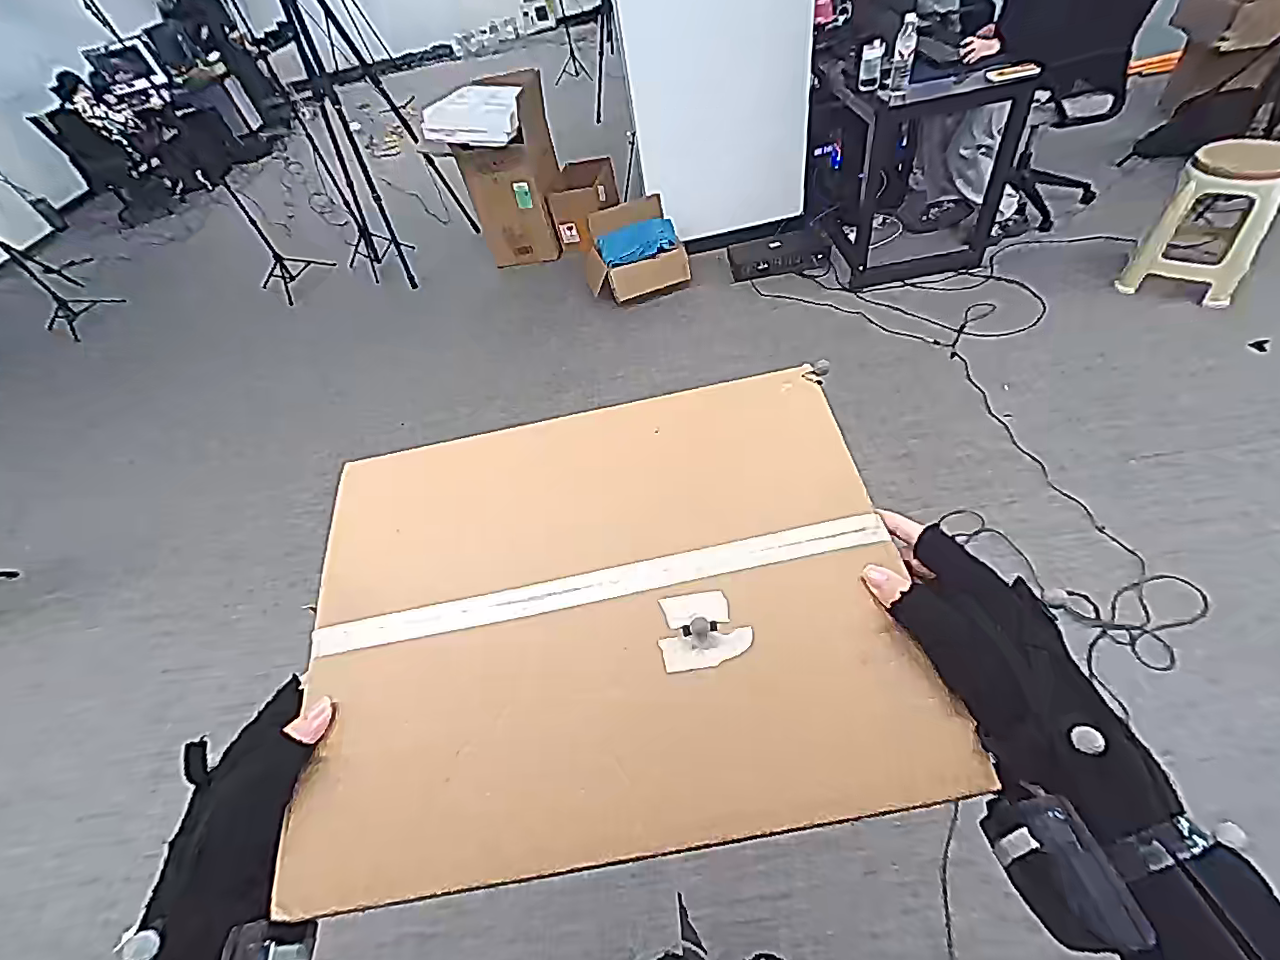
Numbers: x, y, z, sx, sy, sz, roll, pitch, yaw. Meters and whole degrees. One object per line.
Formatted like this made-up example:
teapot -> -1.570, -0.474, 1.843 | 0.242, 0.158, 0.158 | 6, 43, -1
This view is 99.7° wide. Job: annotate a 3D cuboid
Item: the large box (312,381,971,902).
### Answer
large box -> -0.007, 0.159, 0.518 | 0.408, 0.320, 0.320 | -12, 58, 2
